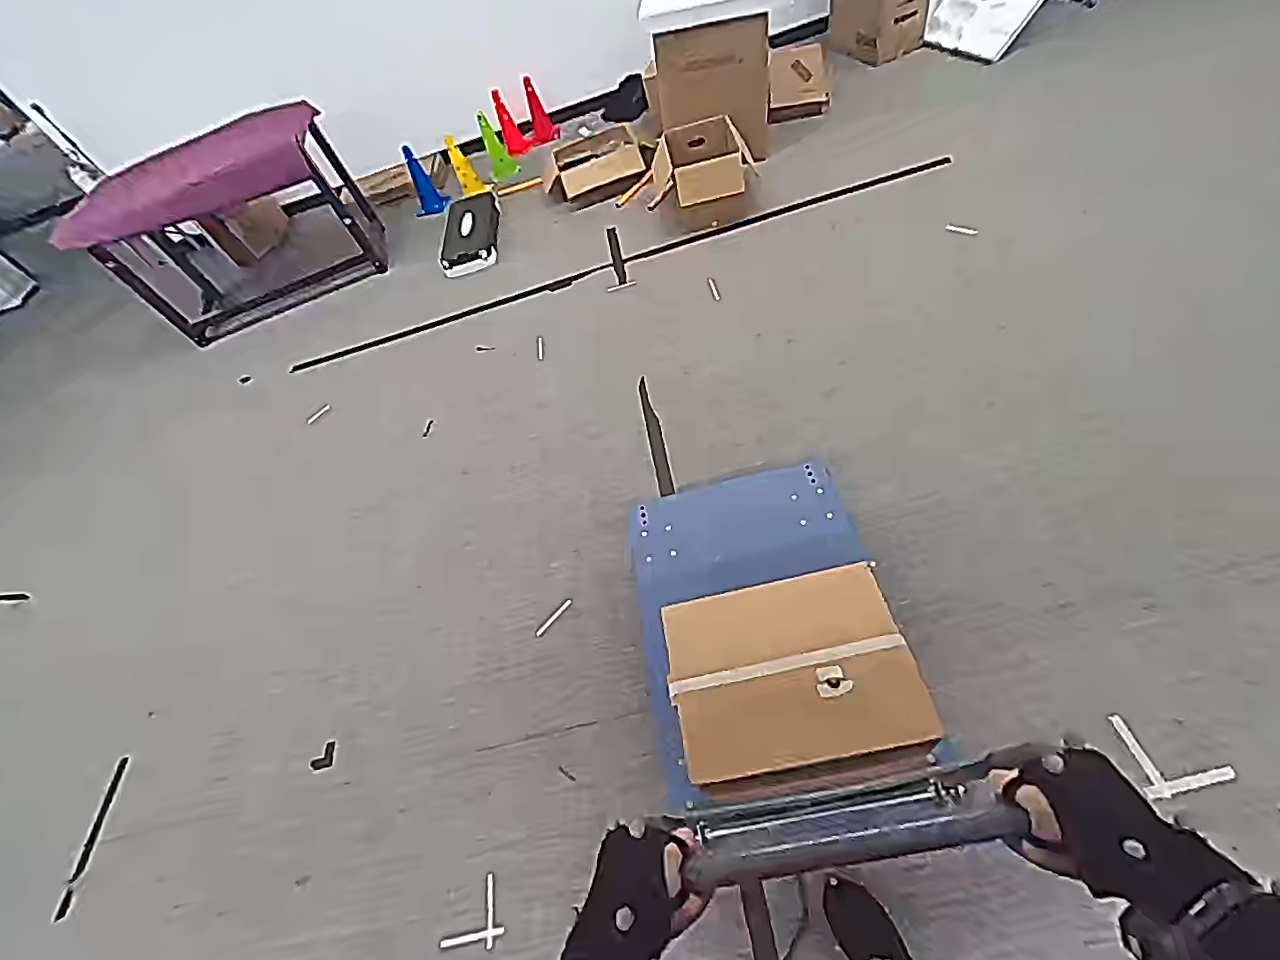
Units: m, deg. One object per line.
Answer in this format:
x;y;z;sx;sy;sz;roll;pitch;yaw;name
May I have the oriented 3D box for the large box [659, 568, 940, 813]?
0.280;0.419;1.048;0.408;0.320;0.320;-14;53;5;large box
